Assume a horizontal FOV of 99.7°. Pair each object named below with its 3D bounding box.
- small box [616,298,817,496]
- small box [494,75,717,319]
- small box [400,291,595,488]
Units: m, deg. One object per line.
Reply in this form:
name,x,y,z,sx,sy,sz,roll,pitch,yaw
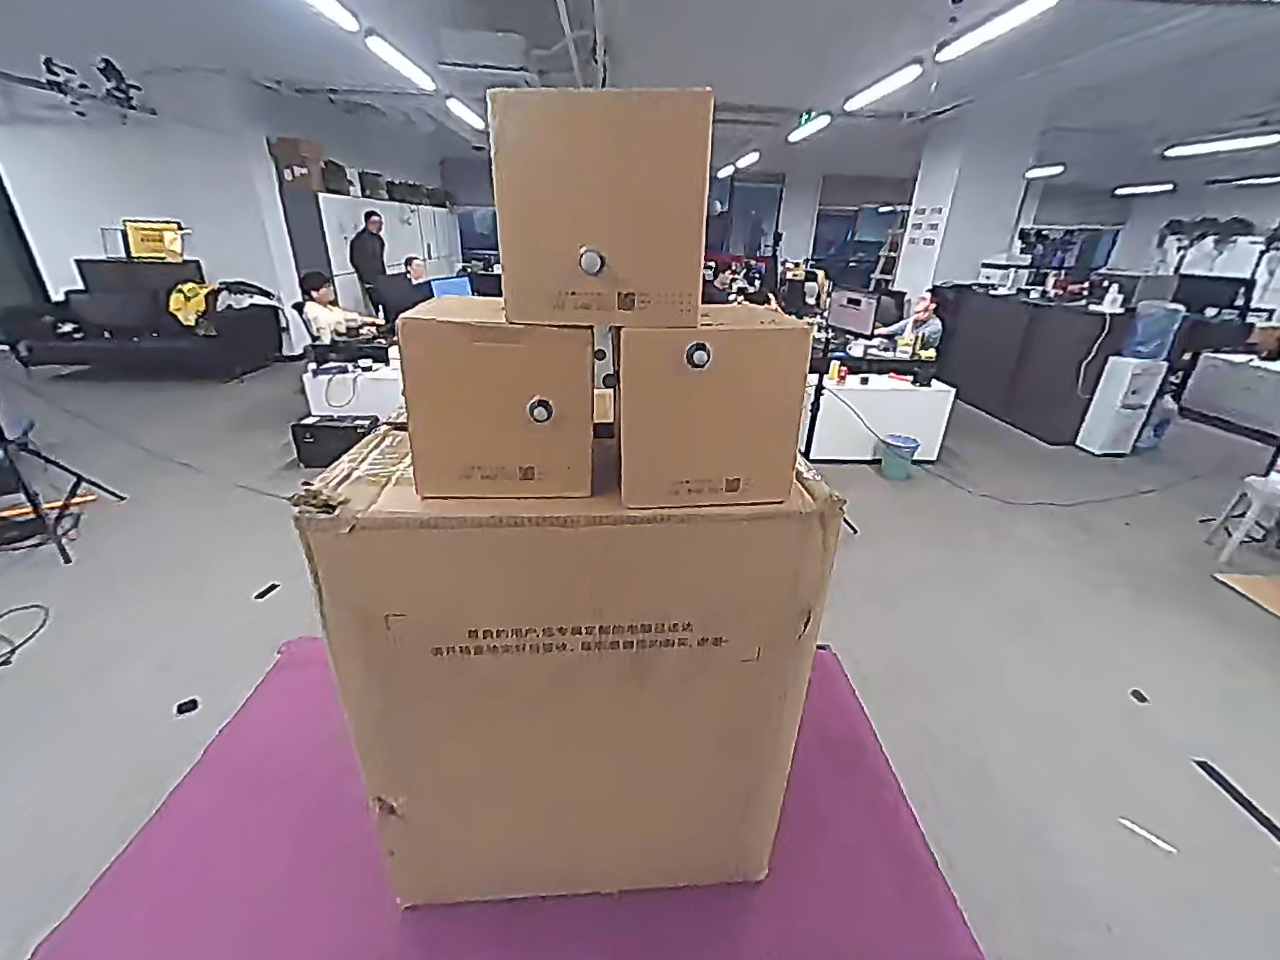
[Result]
small box,0.061,-0.093,0.558,0.168,0.176,0.179,-2,24,-5
small box,-0.022,-0.245,0.494,0.168,0.176,0.179,2,25,3
small box,-0.131,-0.098,0.561,0.168,0.176,0.179,1,23,-8
